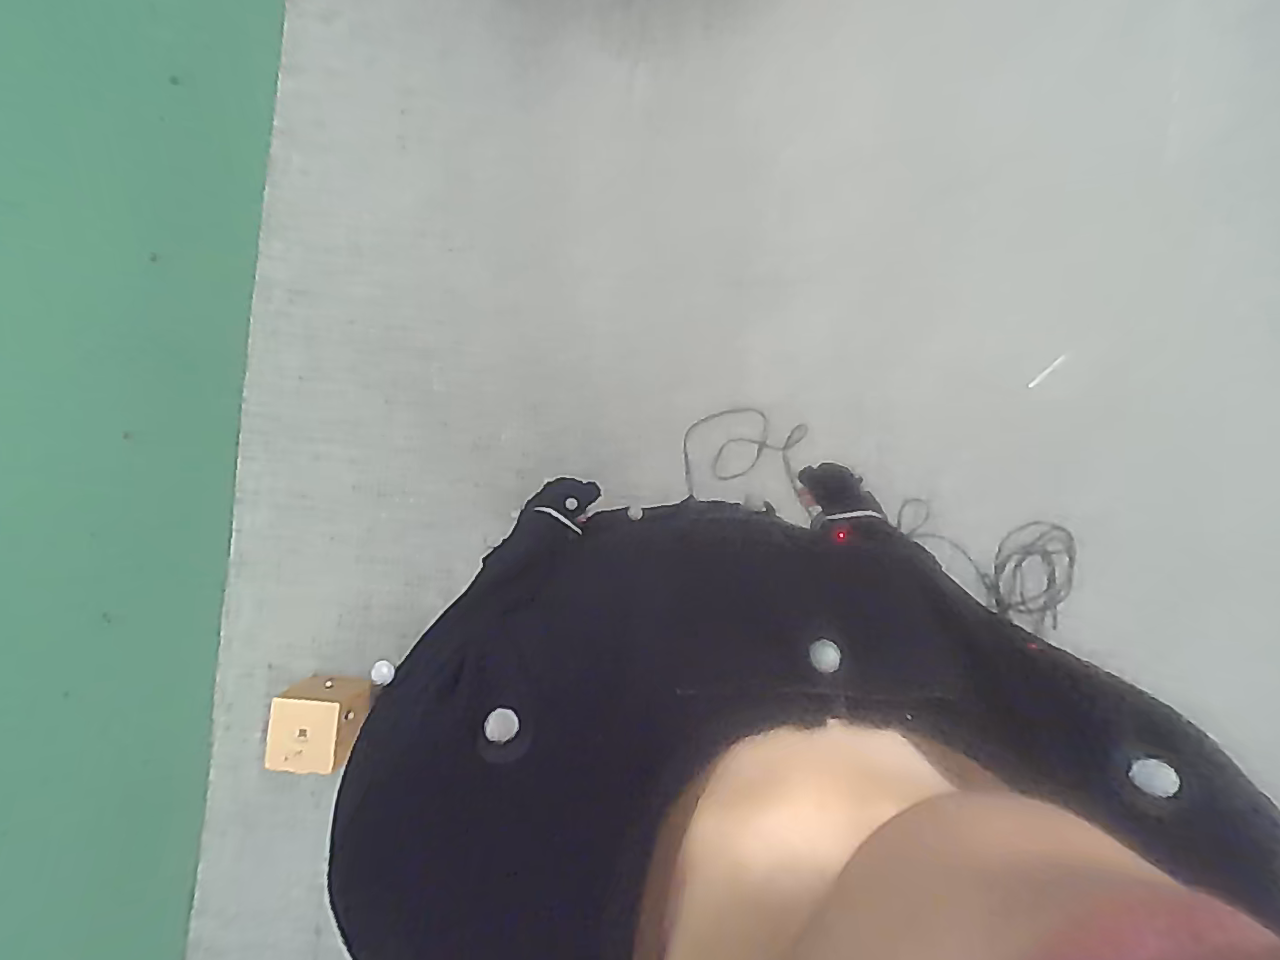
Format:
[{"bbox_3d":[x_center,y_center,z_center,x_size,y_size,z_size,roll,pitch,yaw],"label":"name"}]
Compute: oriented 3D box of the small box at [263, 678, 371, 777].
[{"bbox_3d":[-0.807,0.617,1.370,0.168,0.176,0.179,6,88,0],"label":"small box"}]
